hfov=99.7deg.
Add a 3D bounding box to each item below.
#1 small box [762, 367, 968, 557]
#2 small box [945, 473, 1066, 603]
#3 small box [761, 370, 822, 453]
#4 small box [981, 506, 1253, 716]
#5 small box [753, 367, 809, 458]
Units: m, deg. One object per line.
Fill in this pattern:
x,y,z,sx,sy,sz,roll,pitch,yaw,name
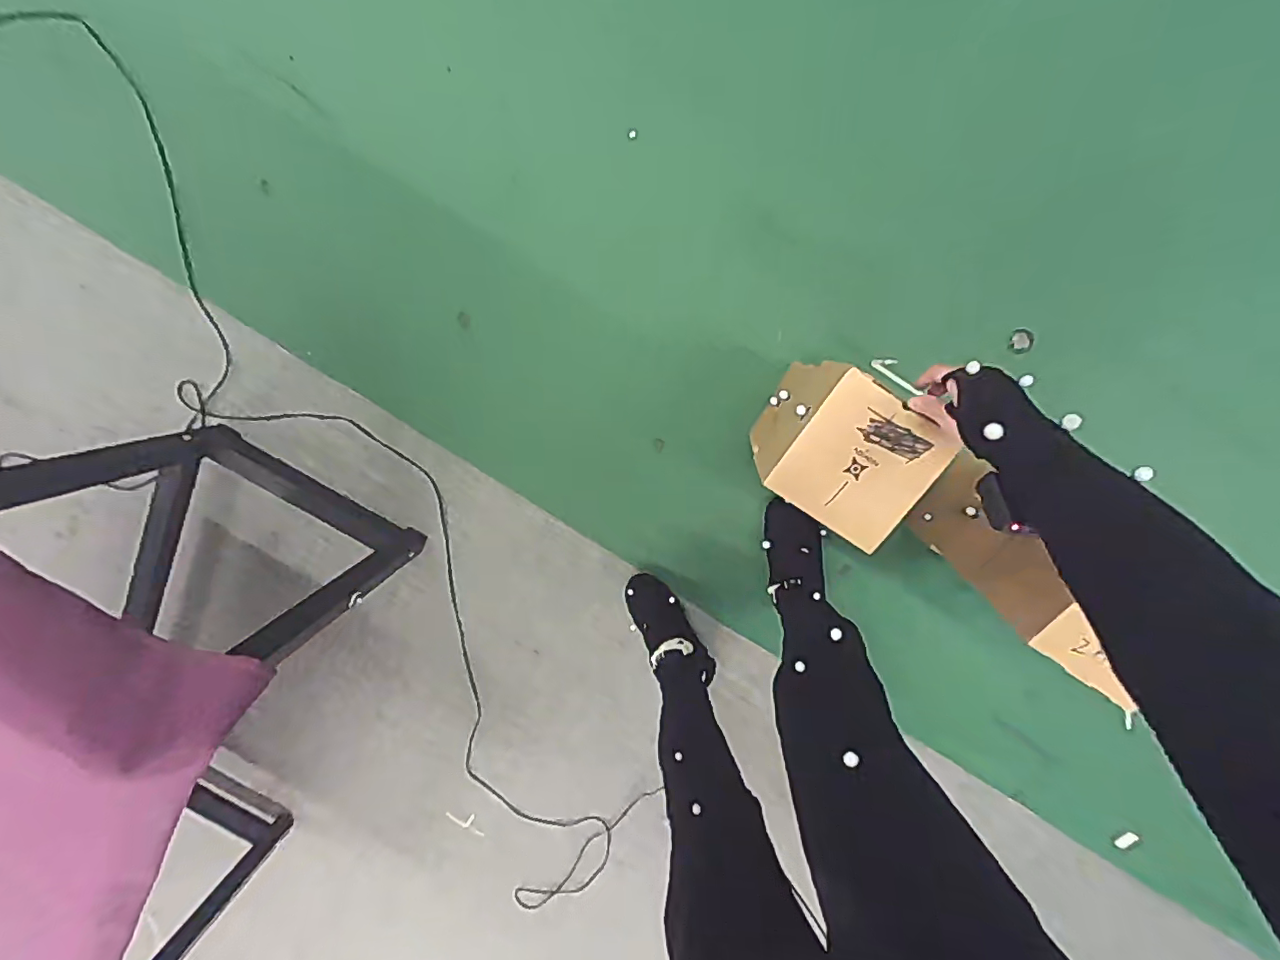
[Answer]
0.278,-0.036,0.720,0.168,0.176,0.179,34,107,-1,small box
0.634,0.118,0.879,0.168,0.176,0.179,33,110,-3,small box
0.315,-0.069,0.877,0.179,0.176,0.168,30,107,0,small box
0.608,0.162,0.722,0.168,0.176,0.179,34,109,-2,small box
0.331,-0.100,1.036,0.168,0.176,0.179,30,107,0,small box
